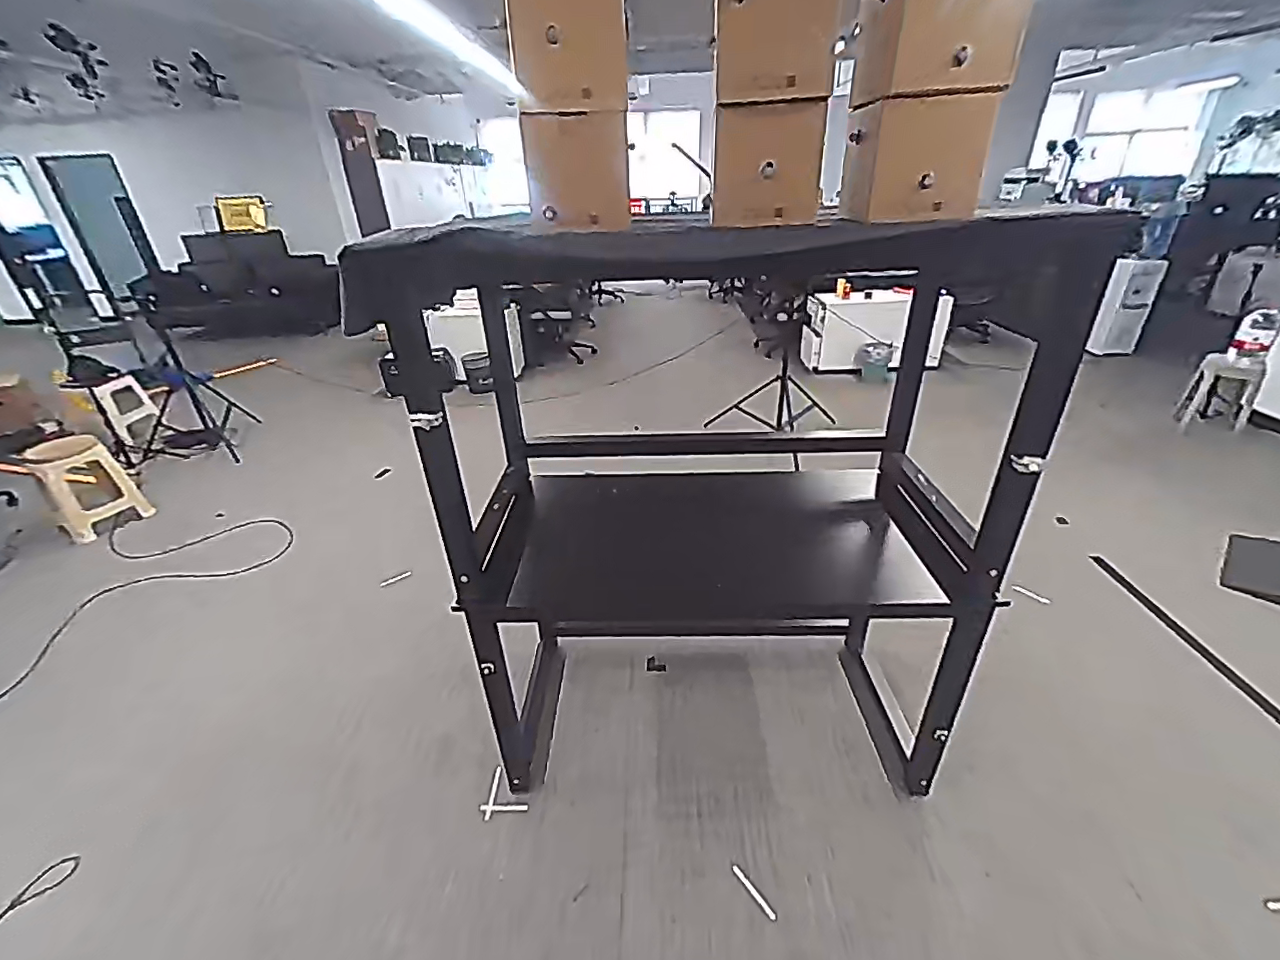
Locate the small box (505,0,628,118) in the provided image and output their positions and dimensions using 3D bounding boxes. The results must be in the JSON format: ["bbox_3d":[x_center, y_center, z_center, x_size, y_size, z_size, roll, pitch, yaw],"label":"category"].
[{"bbox_3d":[-0.114,-0.656,0.846,0.168,0.176,0.179,-7,28,-8],"label":"small box"}]

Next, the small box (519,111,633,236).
[{"bbox_3d":[-0.099,-0.513,0.922,0.168,0.176,0.179,-3,27,-1],"label":"small box"}]

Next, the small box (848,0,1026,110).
[{"bbox_3d":[0.433,-0.658,0.795,0.179,0.176,0.168,-2,28,-1],"label":"small box"}]

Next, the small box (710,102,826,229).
[{"bbox_3d":[0.203,-0.514,0.902,0.168,0.176,0.179,1,29,5],"label":"small box"}]

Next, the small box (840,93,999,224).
[{"bbox_3d":[0.439,-0.517,0.886,0.168,0.176,0.179,-2,28,4],"label":"small box"}]
